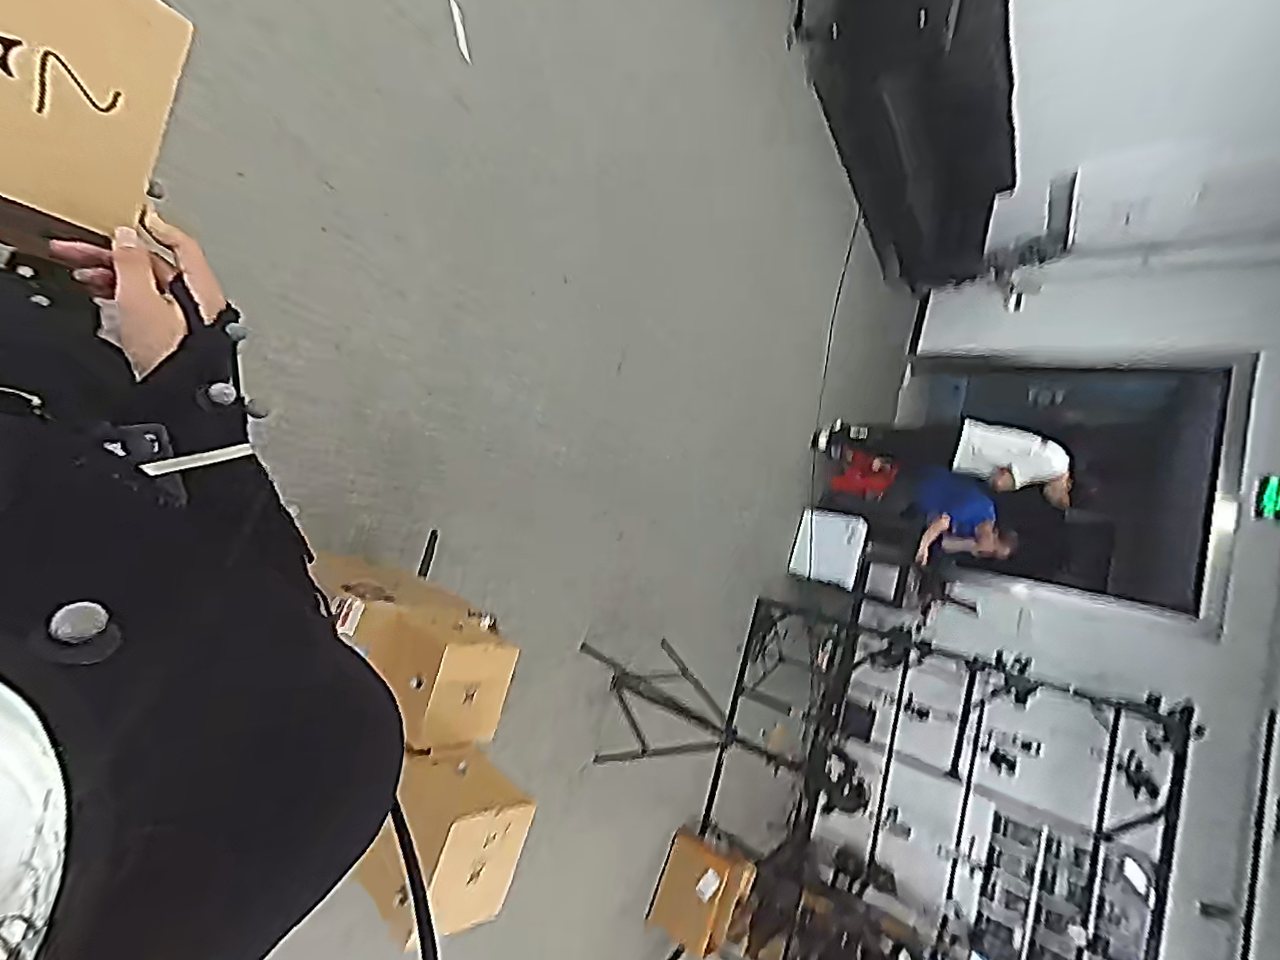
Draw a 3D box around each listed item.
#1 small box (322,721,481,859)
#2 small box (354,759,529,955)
[{"bbox_3d":[-0.423,0.548,0.958,0.168,0.176,0.179,35,73,-49],"label":"small box"},{"bbox_3d":[-0.310,0.562,0.837,0.168,0.176,0.179,31,75,-50],"label":"small box"}]
